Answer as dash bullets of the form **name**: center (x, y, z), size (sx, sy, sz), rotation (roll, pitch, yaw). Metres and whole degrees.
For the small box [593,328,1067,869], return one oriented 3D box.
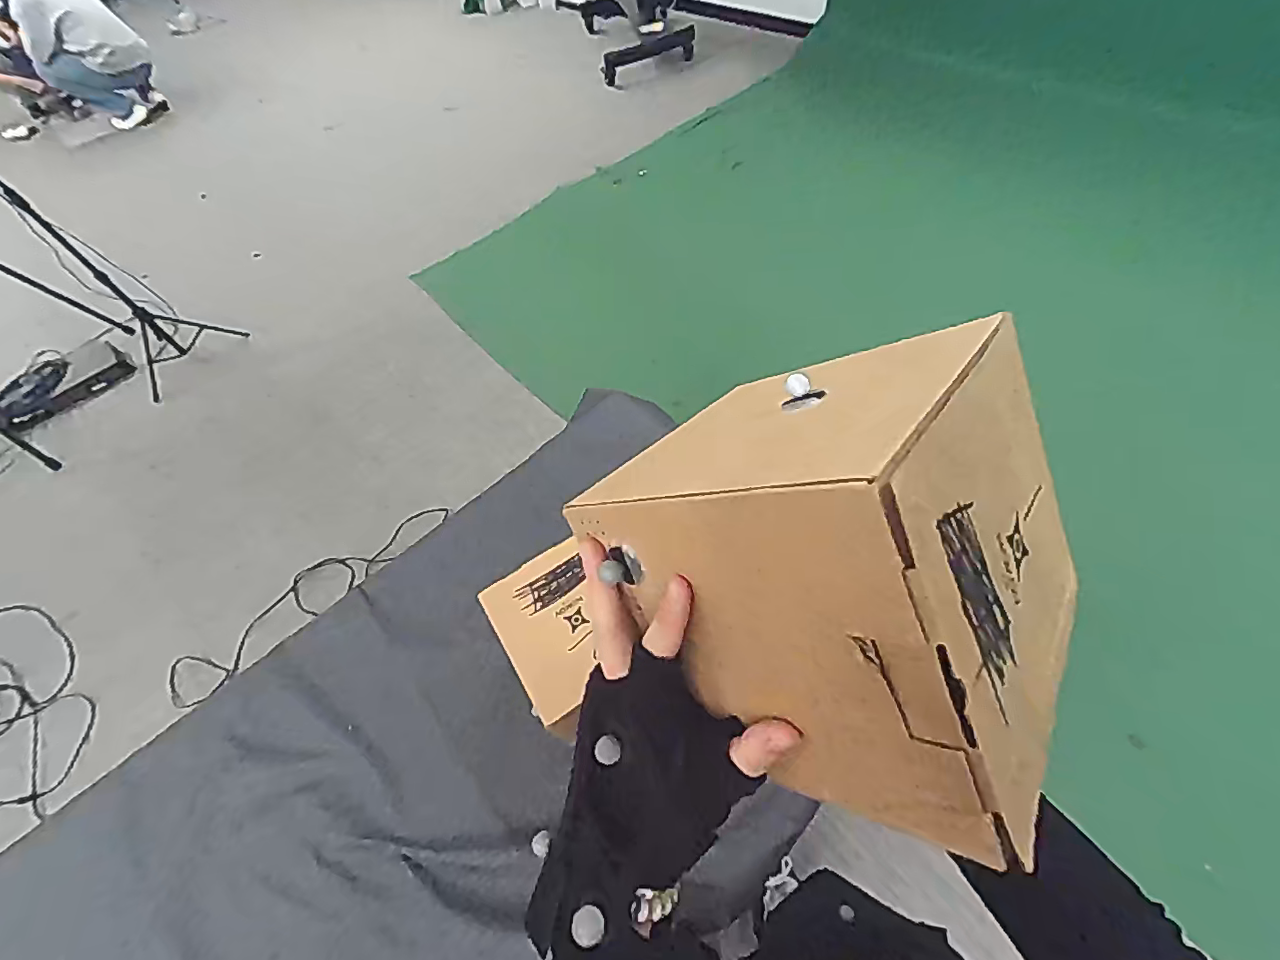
- **small box**: center (0.097, 0.044, 0.292), size (0.176, 0.168, 0.179), rotation (-9, 22, 48)
